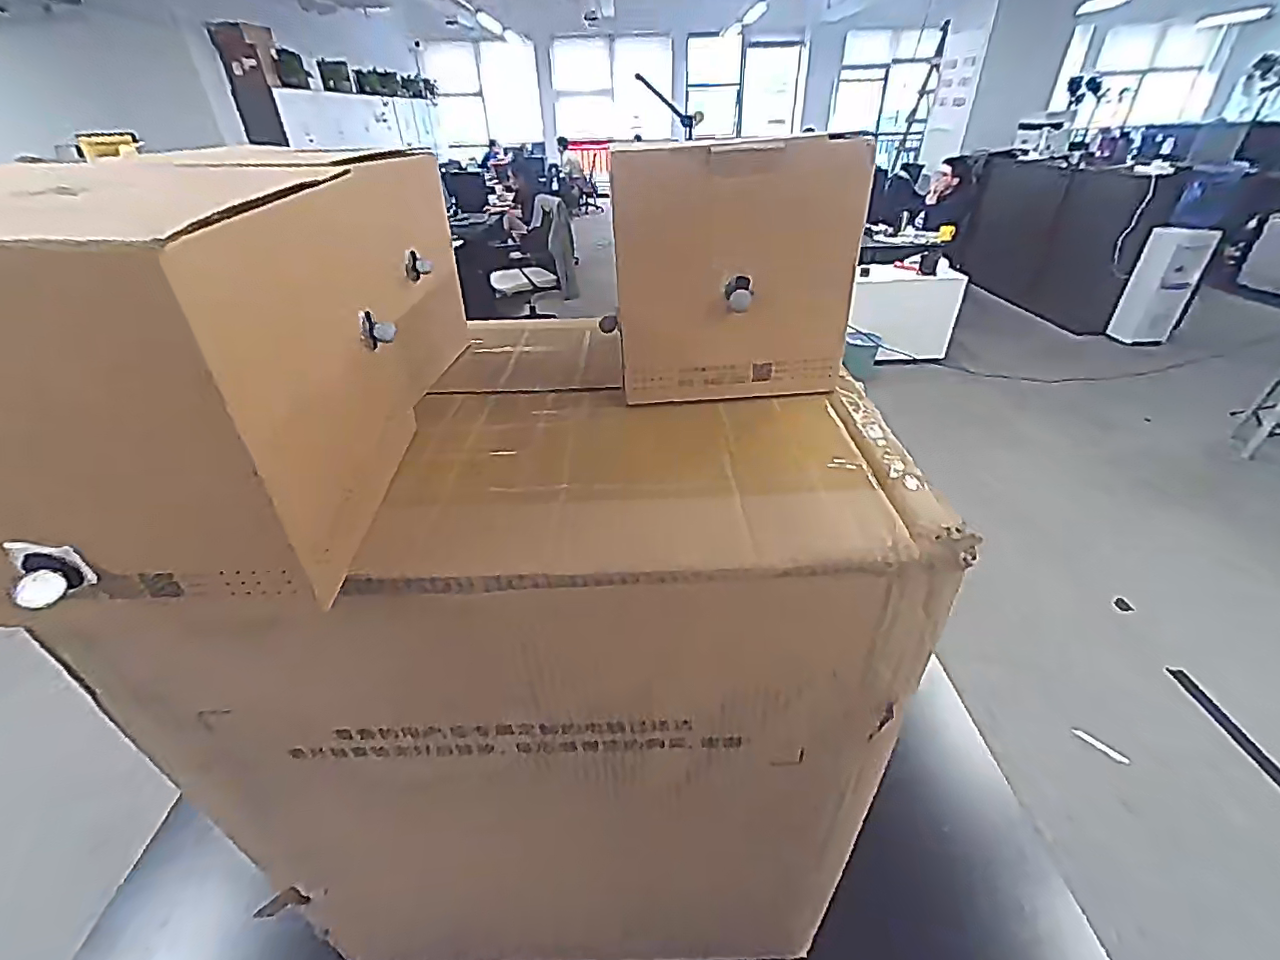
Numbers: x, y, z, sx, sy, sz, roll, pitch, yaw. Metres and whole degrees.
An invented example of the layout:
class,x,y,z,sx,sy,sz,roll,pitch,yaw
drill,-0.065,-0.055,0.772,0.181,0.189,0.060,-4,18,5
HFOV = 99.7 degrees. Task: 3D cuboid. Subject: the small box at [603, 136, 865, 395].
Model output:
class,x,y,z,sx,sy,sz,roll,pitch,yaw
small box,0.059,-0.175,0.442,0.168,0.176,0.179,-4,33,-2
